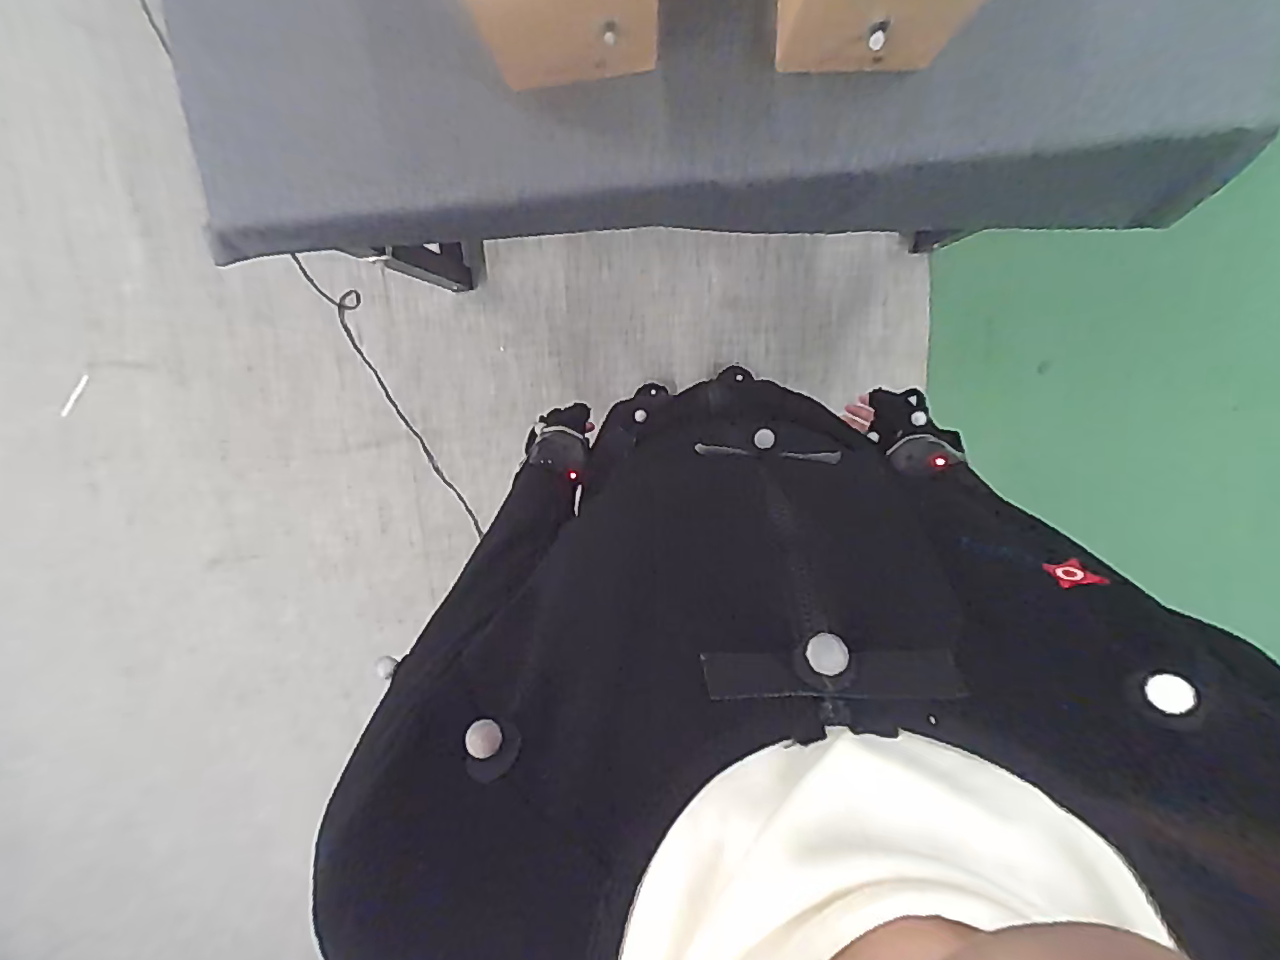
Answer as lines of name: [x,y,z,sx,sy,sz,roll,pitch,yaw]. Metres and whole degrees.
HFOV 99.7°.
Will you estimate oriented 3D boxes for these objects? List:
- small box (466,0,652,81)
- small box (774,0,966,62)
small box: [-0.078,-0.519,0.516,0.168,0.176,0.179,-7,101,3]
small box: [0.224,-0.521,0.501,0.168,0.176,0.179,-1,103,2]
